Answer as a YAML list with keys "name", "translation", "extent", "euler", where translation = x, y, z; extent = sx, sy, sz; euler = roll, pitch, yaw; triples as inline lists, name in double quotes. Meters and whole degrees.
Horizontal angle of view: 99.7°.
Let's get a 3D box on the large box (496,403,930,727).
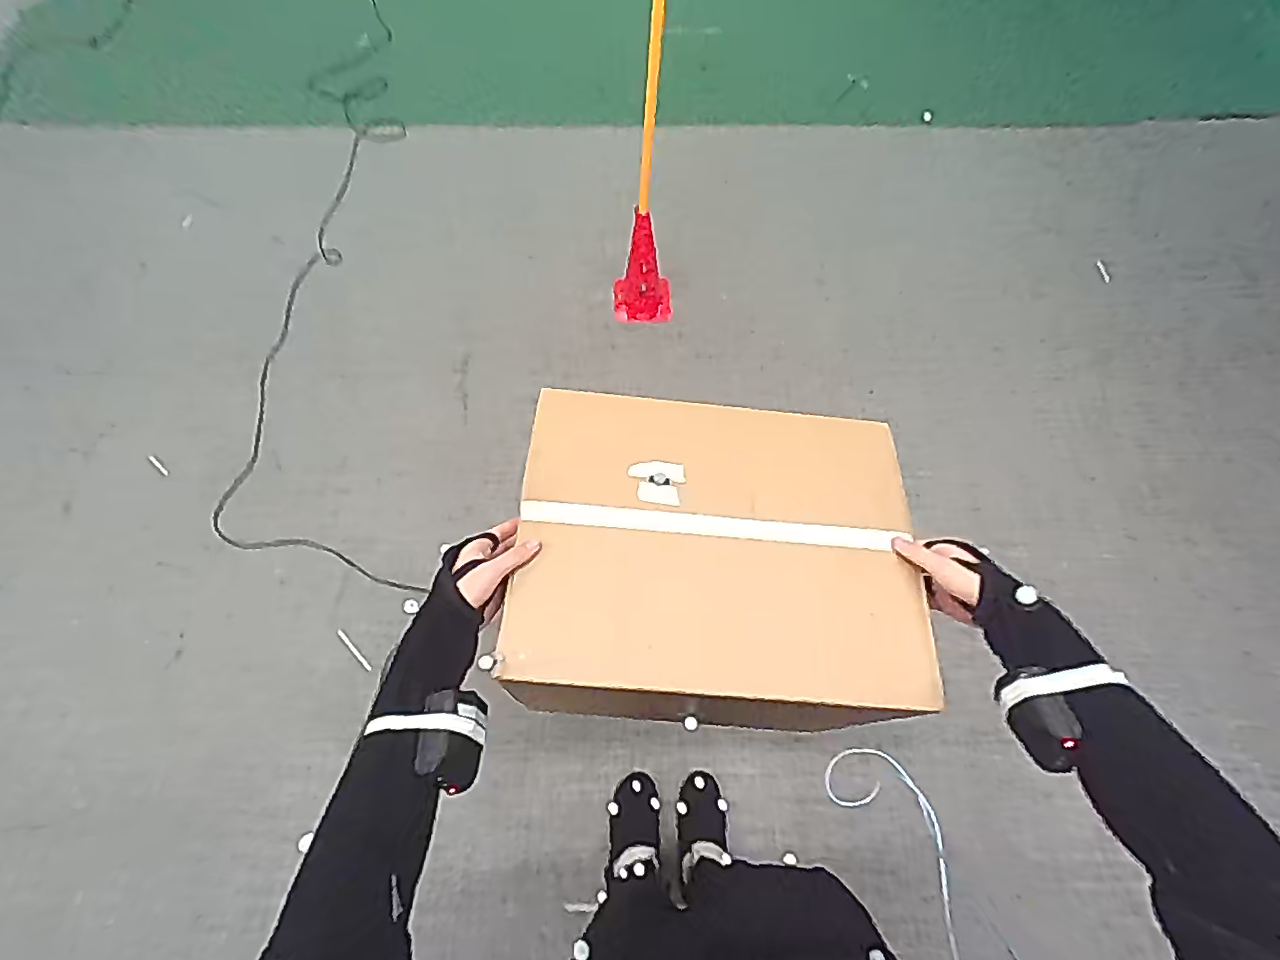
- name: "large box"
  translation: [0.069, 0.130, 0.685]
  extent: [0.408, 0.320, 0.320]
  euler: [6, 61, -2]
